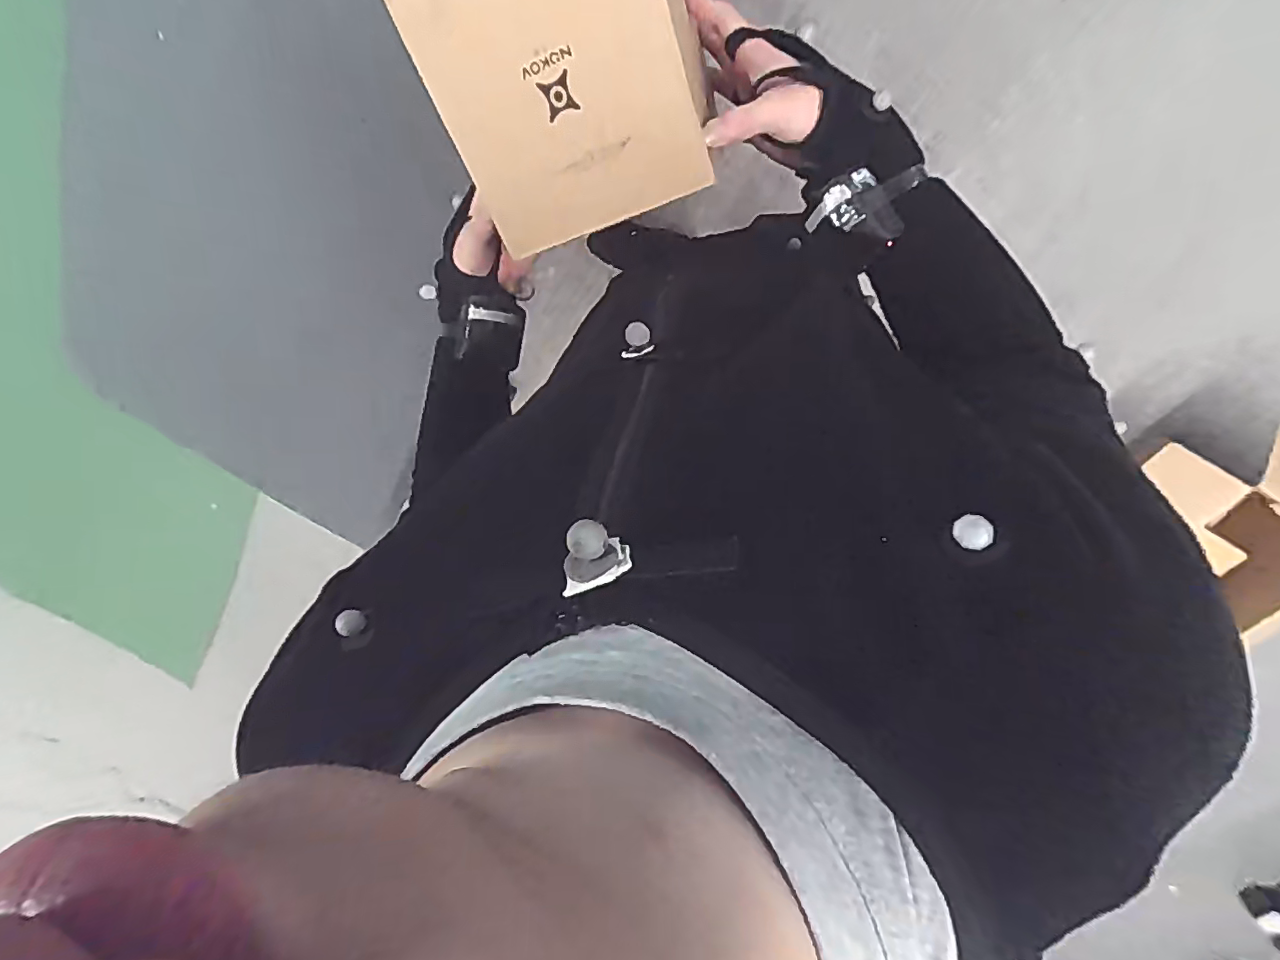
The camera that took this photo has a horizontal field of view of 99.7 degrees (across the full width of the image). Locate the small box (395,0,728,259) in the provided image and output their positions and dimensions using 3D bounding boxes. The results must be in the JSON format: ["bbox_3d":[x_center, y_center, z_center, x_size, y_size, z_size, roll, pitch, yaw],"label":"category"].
[{"bbox_3d":[-0.036,-0.299,0.403,0.168,0.176,0.179,-11,127,20],"label":"small box"}]
